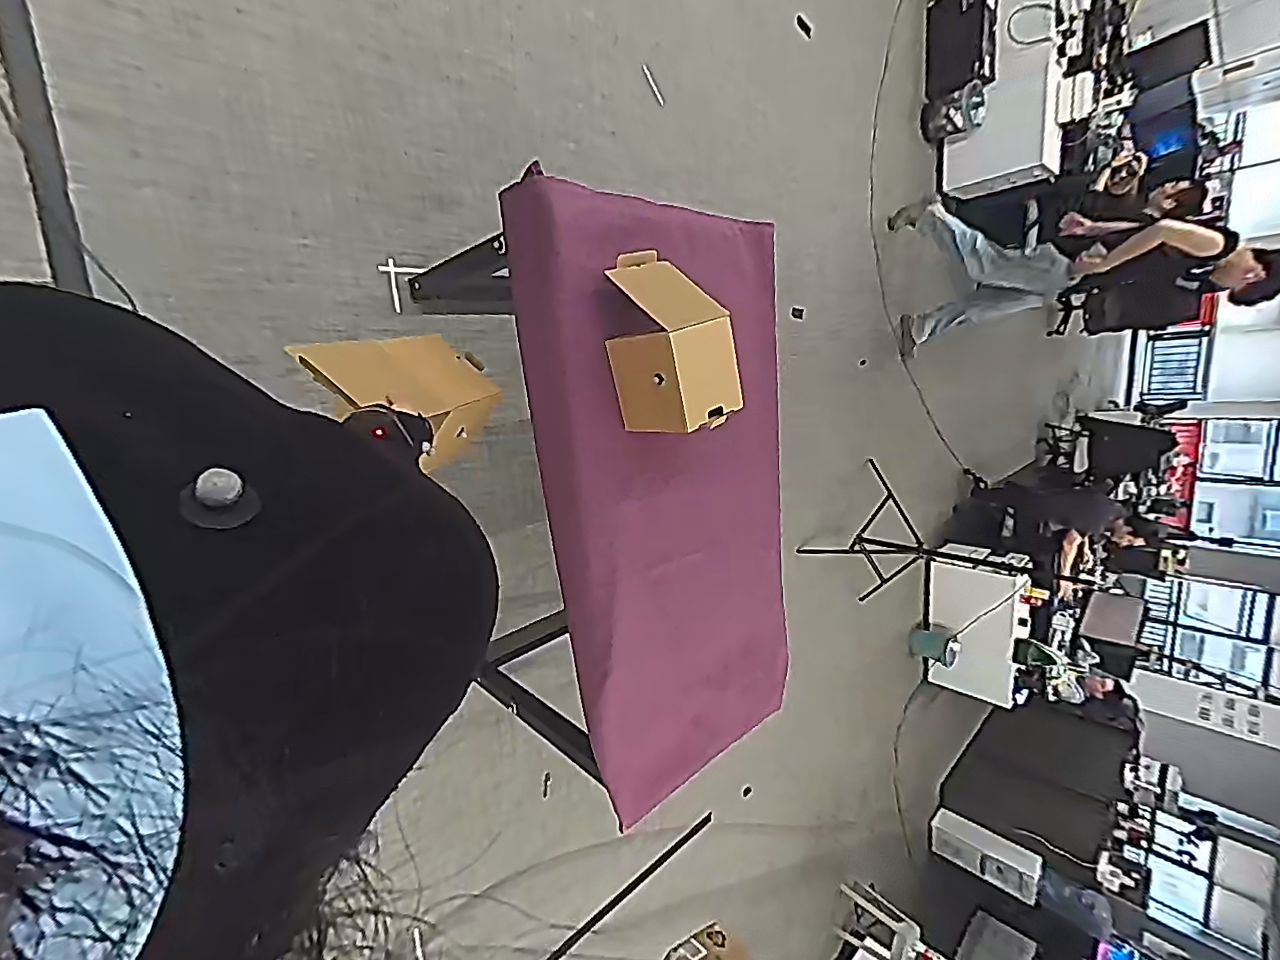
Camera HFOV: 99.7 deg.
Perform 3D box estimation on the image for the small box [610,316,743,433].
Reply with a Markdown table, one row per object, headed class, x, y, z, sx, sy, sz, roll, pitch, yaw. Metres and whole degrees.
| class | x | y | z | sx | sy | sz | roll | pitch | yaw |
| --- | --- | --- | --- | --- | --- | --- | --- | --- | --- |
| small box | 0.065 | -0.193 | 1.001 | 0.168 | 0.176 | 0.179 | -26 | 113 | -37 |
